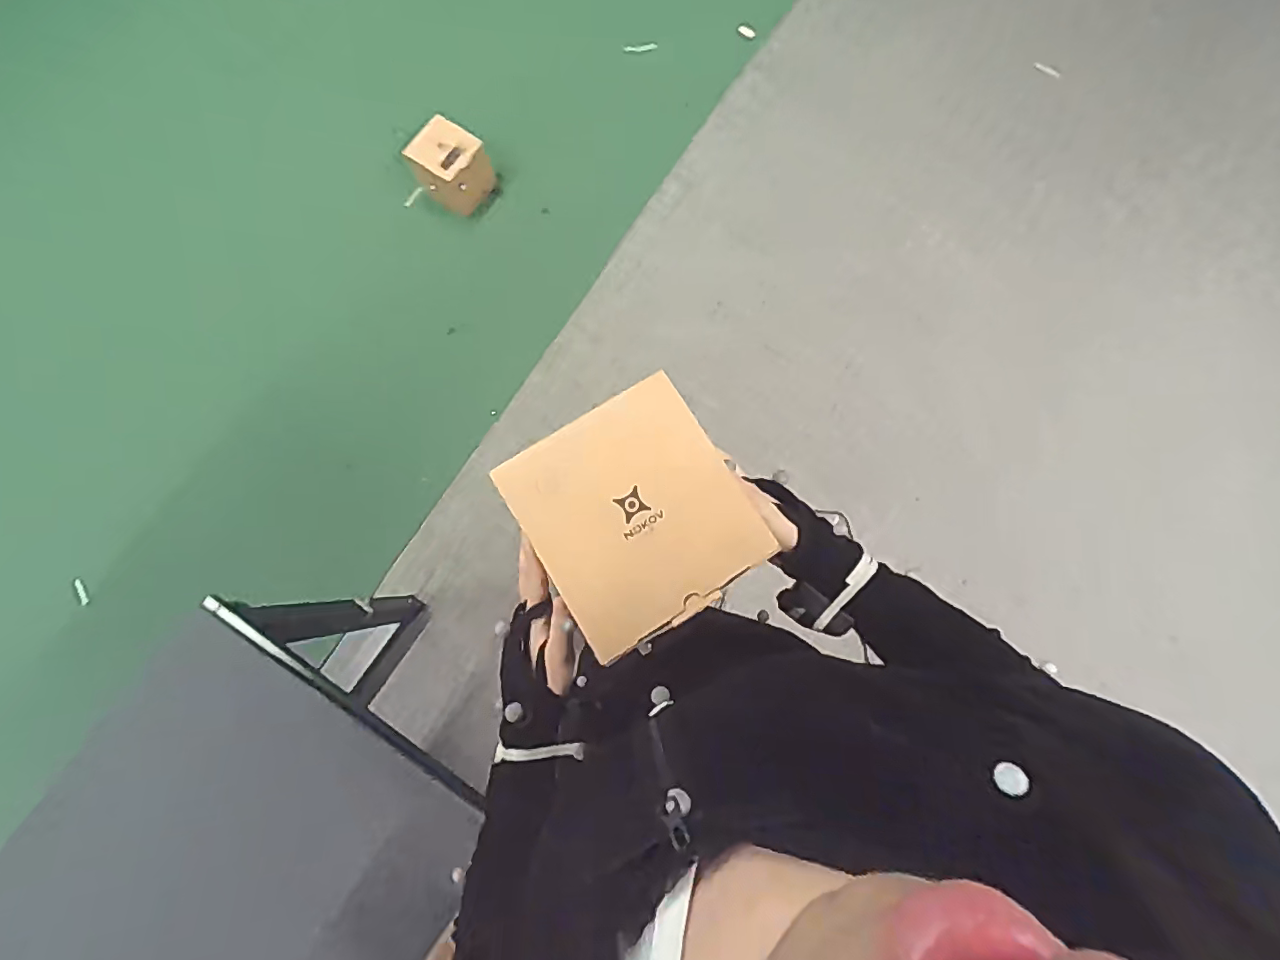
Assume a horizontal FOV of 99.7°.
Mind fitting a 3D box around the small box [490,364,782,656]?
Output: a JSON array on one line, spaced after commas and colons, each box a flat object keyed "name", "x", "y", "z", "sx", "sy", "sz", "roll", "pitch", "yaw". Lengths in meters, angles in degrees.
[{"name": "small box", "x": -0.008, "y": 0.033, "z": 0.489, "sx": 0.168, "sy": 0.176, "sz": 0.179, "roll": -31, "pitch": 82, "yaw": -8}]

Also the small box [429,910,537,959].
[{"name": "small box", "x": -0.209, "y": 0.656, "z": 0.609, "sx": 0.168, "sy": 0.176, "sz": 0.179, "roll": 34, "pitch": 81, "yaw": 6}]
